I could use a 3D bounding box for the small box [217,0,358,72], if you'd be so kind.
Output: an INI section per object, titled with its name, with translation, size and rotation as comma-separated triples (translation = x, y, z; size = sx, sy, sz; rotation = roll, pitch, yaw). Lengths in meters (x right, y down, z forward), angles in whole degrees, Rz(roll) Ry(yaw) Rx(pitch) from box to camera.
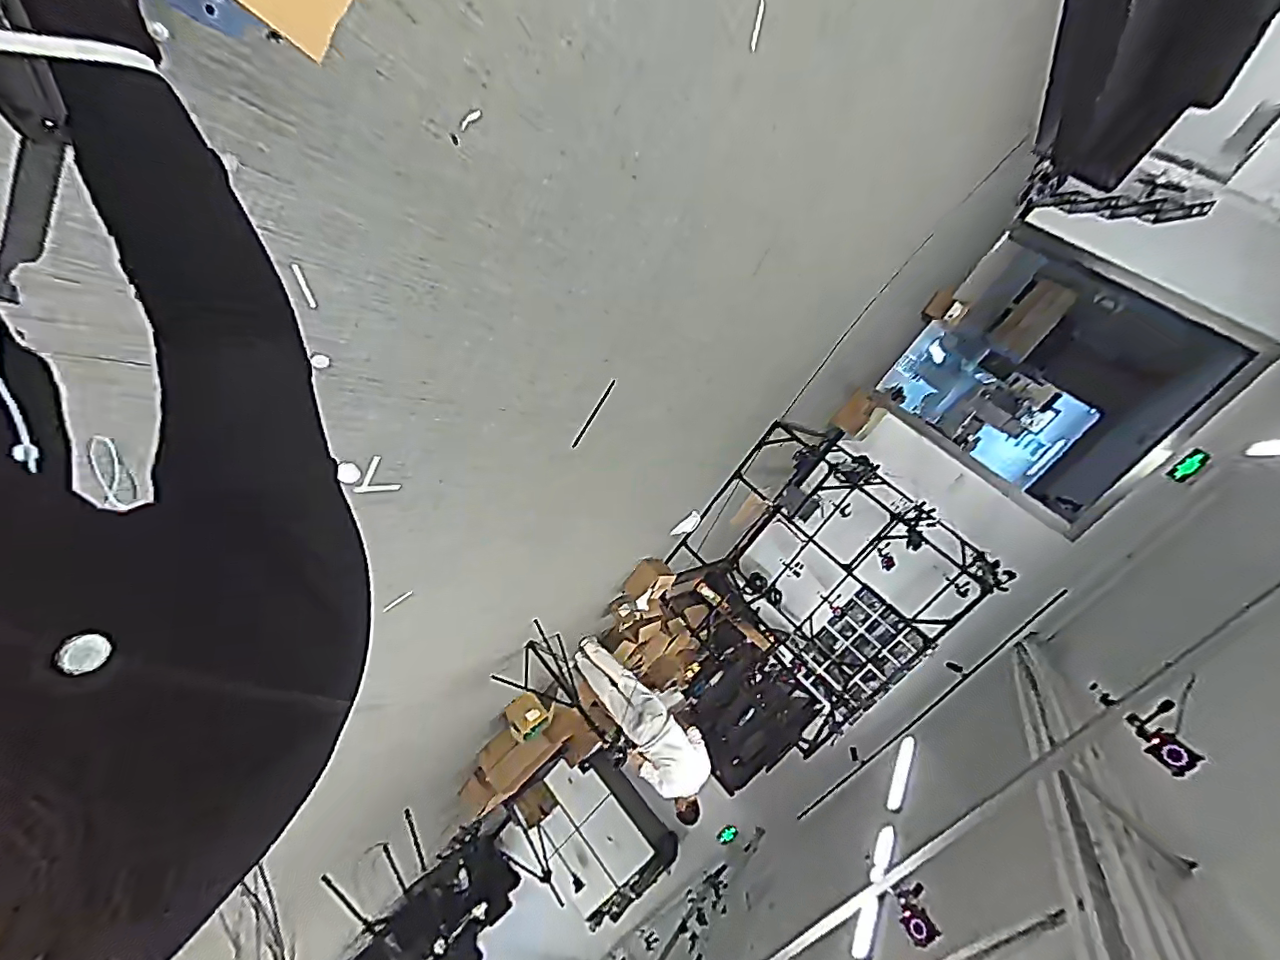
[small box]
translation = -0.432, -0.609, 0.592
size = 0.168, 0.176, 0.179
rotation = -53, 158, 14
